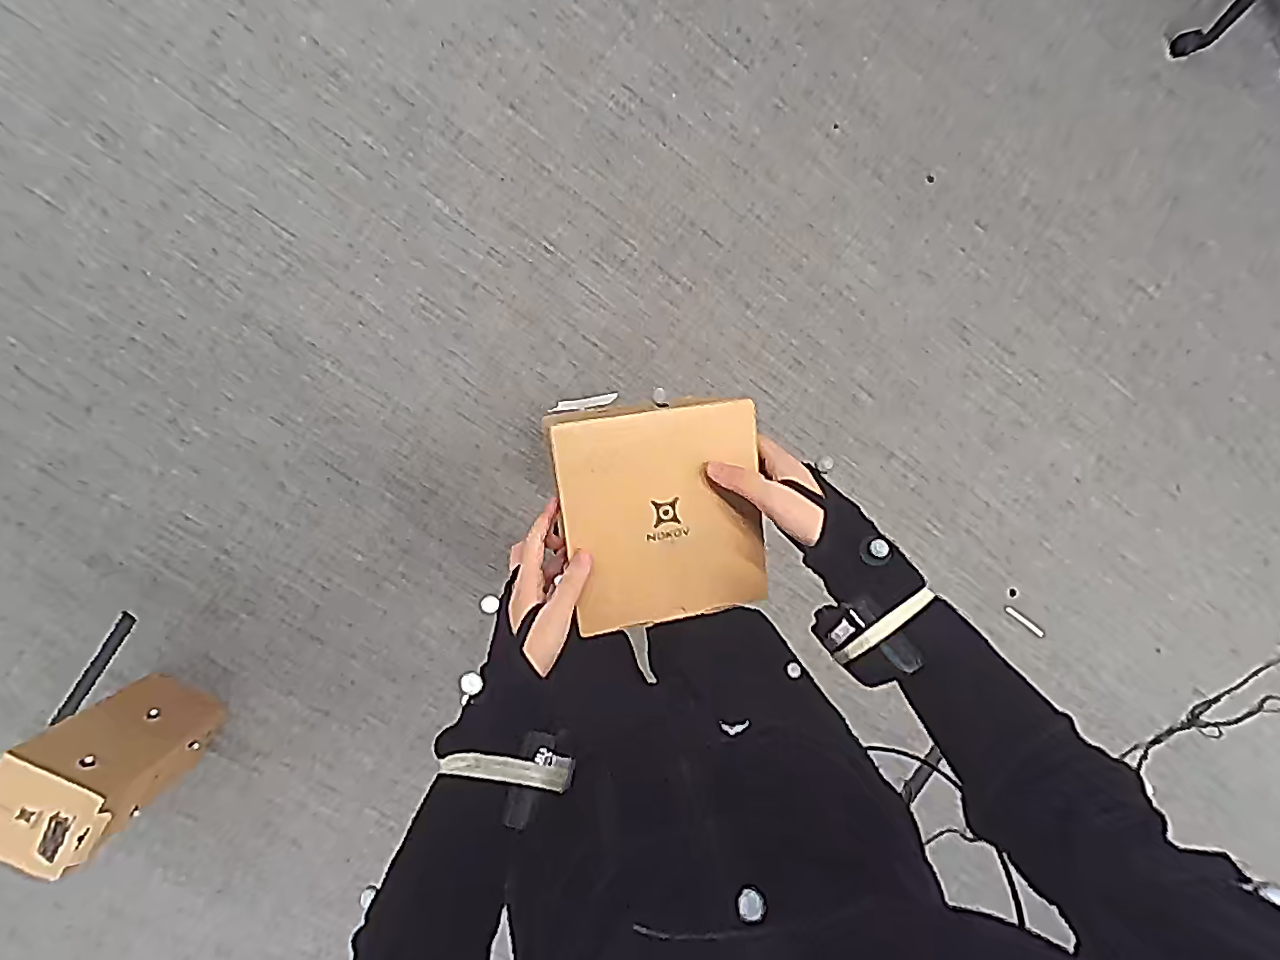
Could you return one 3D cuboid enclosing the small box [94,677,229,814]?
[{"bbox_3d":[-1.027,0.545,1.137,0.179,0.176,0.168,30,89,-7],"label":"small box"}]

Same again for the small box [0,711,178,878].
[{"bbox_3d":[-1.002,0.551,0.974,0.179,0.176,0.168,31,89,-8],"label":"small box"}]

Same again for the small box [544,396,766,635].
[{"bbox_3d":[0.003,0.018,0.515,0.168,0.176,0.179,-10,101,-10],"label":"small box"}]
